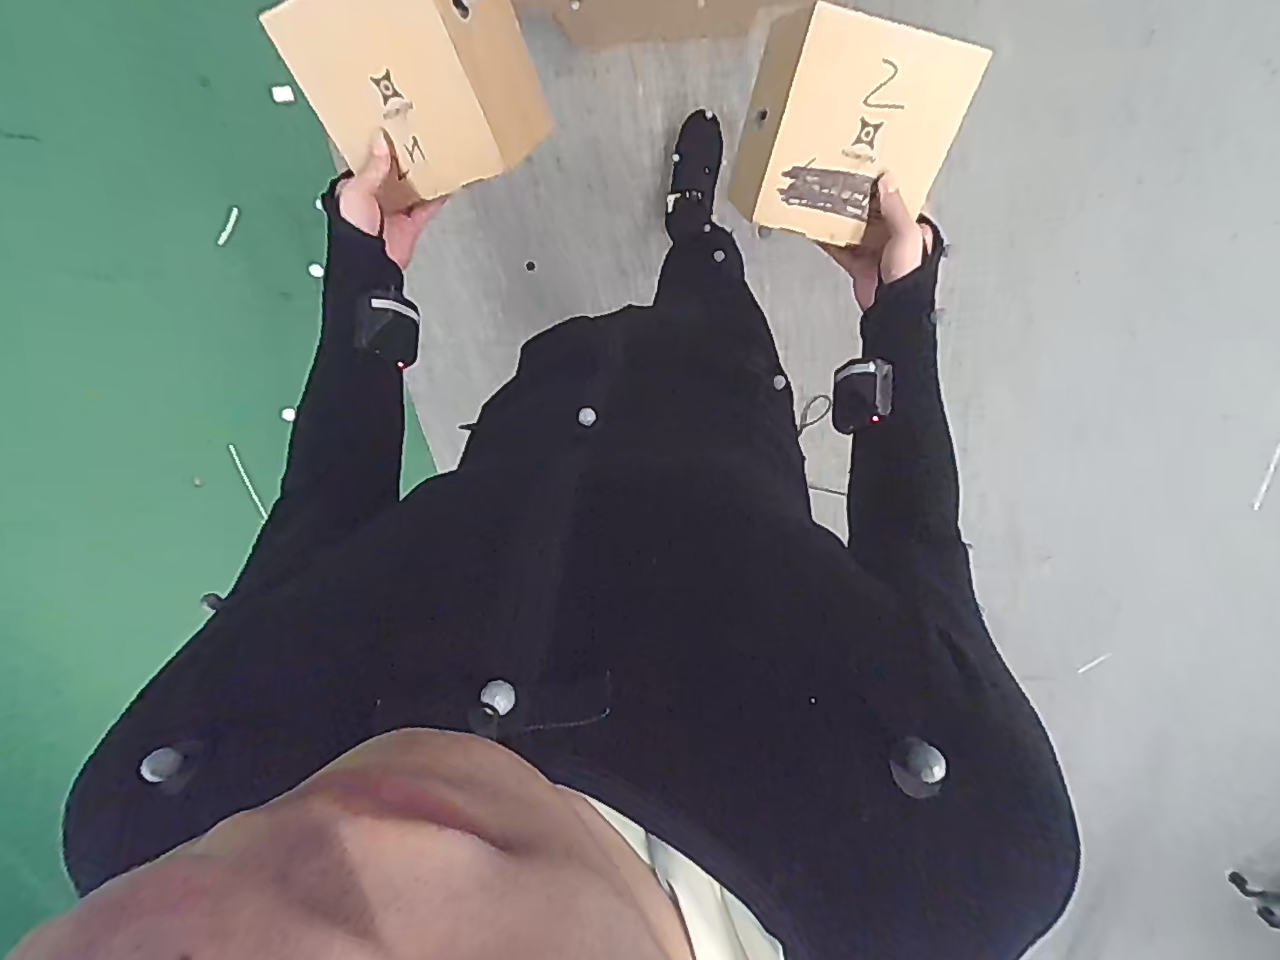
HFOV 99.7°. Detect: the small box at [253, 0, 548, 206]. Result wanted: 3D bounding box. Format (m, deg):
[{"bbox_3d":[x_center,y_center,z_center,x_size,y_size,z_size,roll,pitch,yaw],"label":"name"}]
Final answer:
[{"bbox_3d":[-0.215,-0.410,0.539,0.168,0.176,0.179,-6,134,19],"label":"small box"}]
